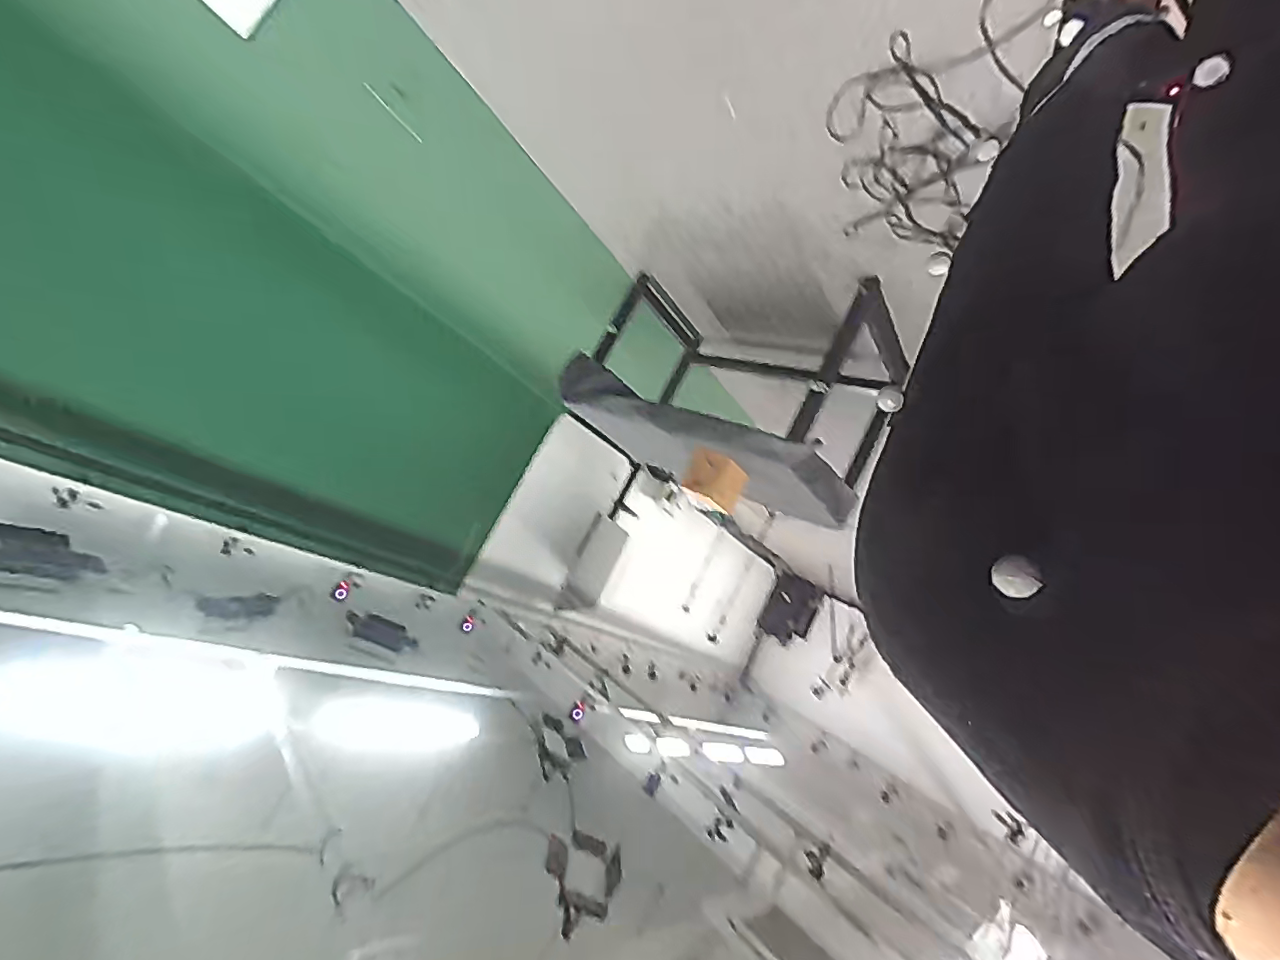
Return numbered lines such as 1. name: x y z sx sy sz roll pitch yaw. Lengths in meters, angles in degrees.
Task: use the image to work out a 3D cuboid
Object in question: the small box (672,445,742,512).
1. small box: 0.257 -0.008 2.035 0.168 0.176 0.179 22 170 41
